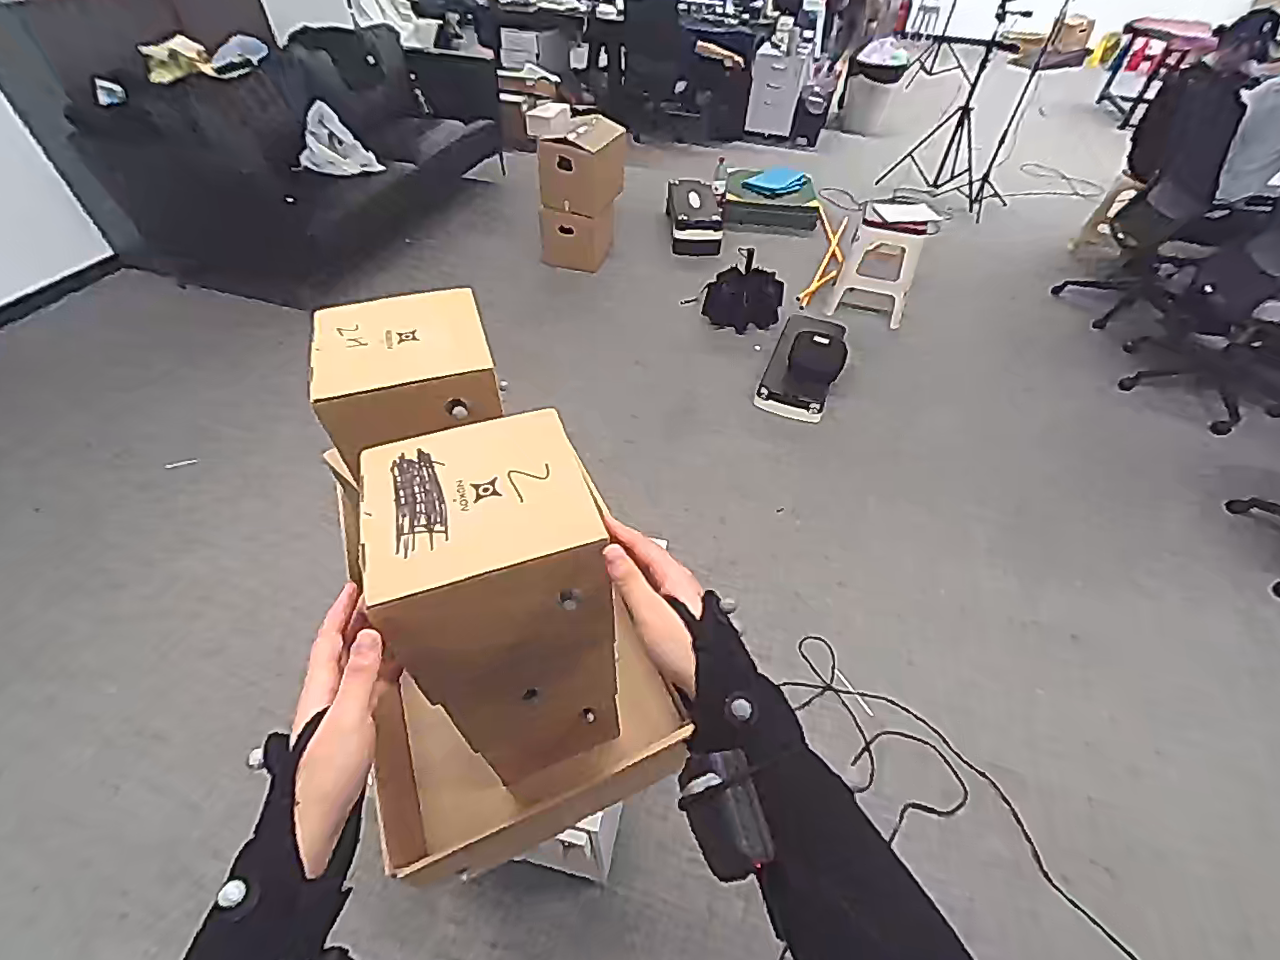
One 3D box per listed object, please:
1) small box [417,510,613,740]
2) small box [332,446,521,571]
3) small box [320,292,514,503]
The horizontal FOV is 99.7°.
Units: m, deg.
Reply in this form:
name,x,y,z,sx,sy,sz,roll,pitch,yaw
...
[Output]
name,x,y,z,sx,sy,sz,roll,pitch,yaw
small box,-0.139,0.169,0.631,0.179,0.176,0.168,-18,48,-15
small box,-0.288,0.012,0.773,0.168,0.176,0.179,32,57,25
small box,-0.256,-0.099,0.652,0.179,0.176,0.168,-15,50,-13
